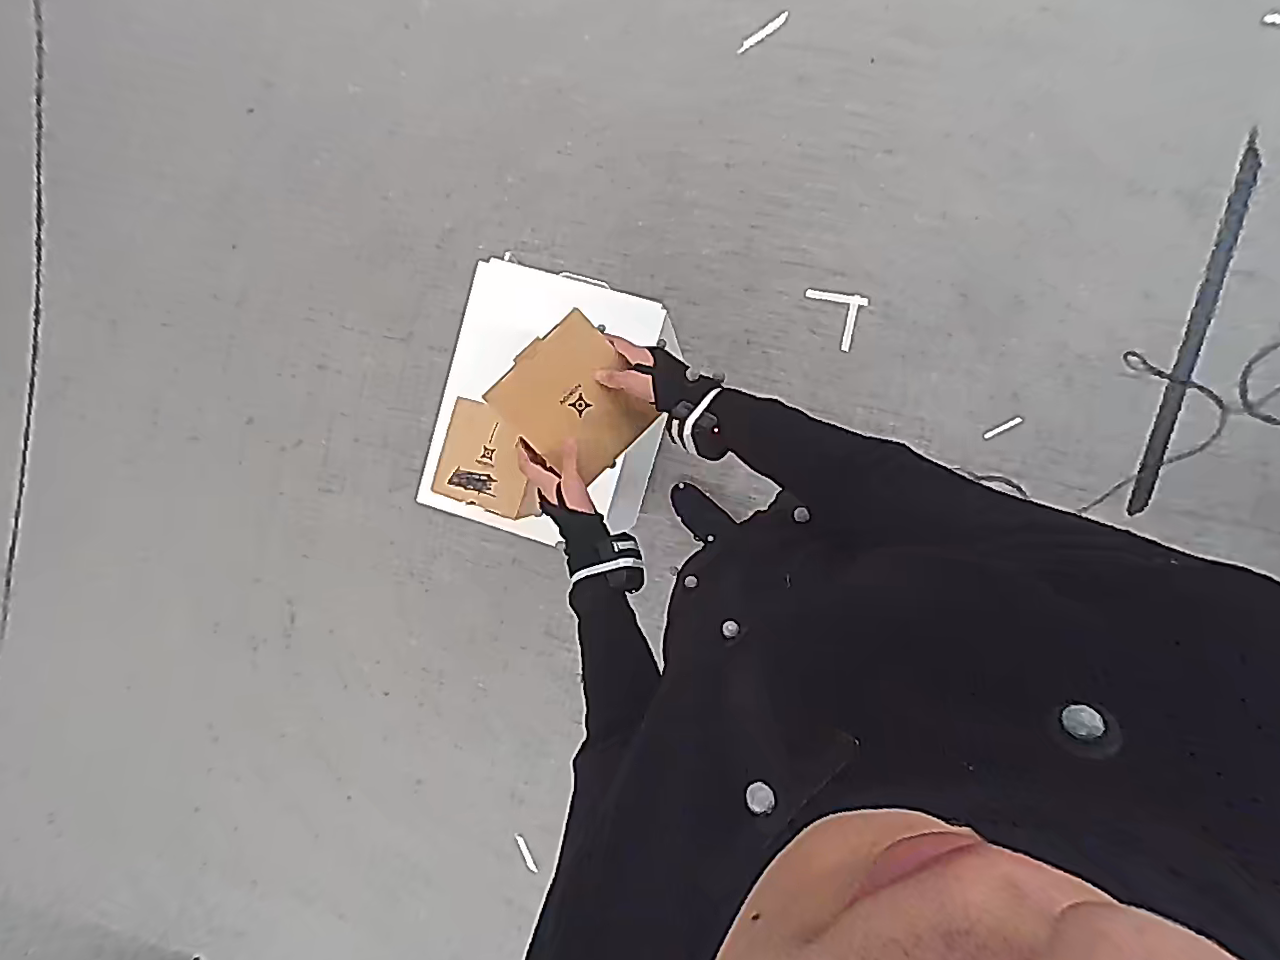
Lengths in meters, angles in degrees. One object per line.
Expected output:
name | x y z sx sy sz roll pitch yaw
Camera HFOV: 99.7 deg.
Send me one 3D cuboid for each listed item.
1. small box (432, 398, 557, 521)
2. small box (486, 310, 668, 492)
small box | -0.250 -0.037 1.004 0.168 0.176 0.179 18 93 7
small box | -0.087 -0.108 0.764 0.168 0.176 0.179 -44 99 -3
